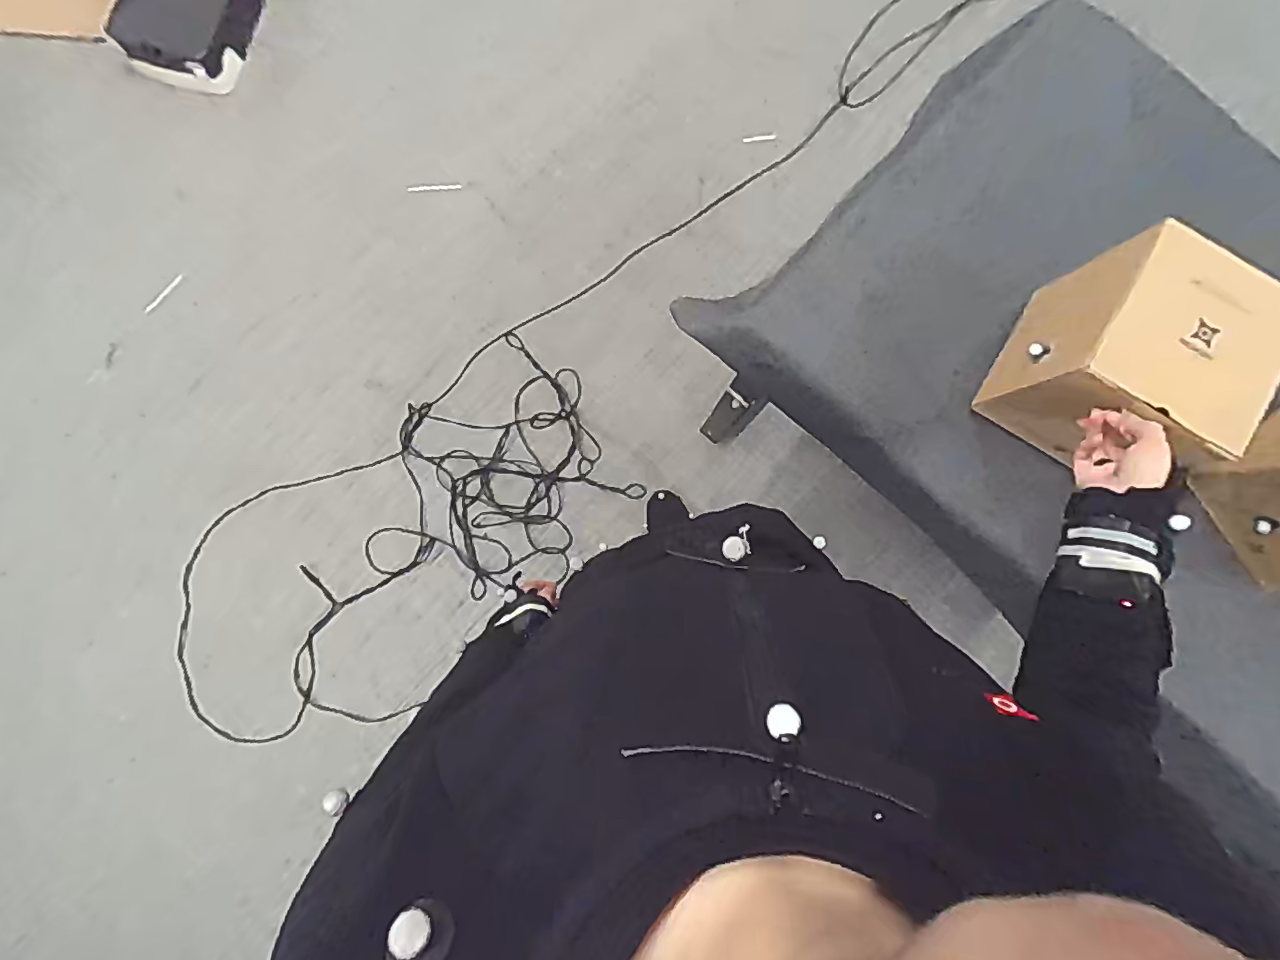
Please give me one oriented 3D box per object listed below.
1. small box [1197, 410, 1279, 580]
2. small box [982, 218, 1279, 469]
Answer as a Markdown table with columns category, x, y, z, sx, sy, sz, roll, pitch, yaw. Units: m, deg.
| category | x | y | z | sx | sy | sz | roll | pitch | yaw |
| --- | --- | --- | --- | --- | --- | --- | --- | --- | --- |
| small box | 0.784 | 0.004 | 0.578 | 0.179 | 0.176 | 0.168 | -33 | 87 | -3 |
| small box | 0.512 | -0.125 | 0.577 | 0.168 | 0.176 | 0.179 | 31 | 85 | -1 |
